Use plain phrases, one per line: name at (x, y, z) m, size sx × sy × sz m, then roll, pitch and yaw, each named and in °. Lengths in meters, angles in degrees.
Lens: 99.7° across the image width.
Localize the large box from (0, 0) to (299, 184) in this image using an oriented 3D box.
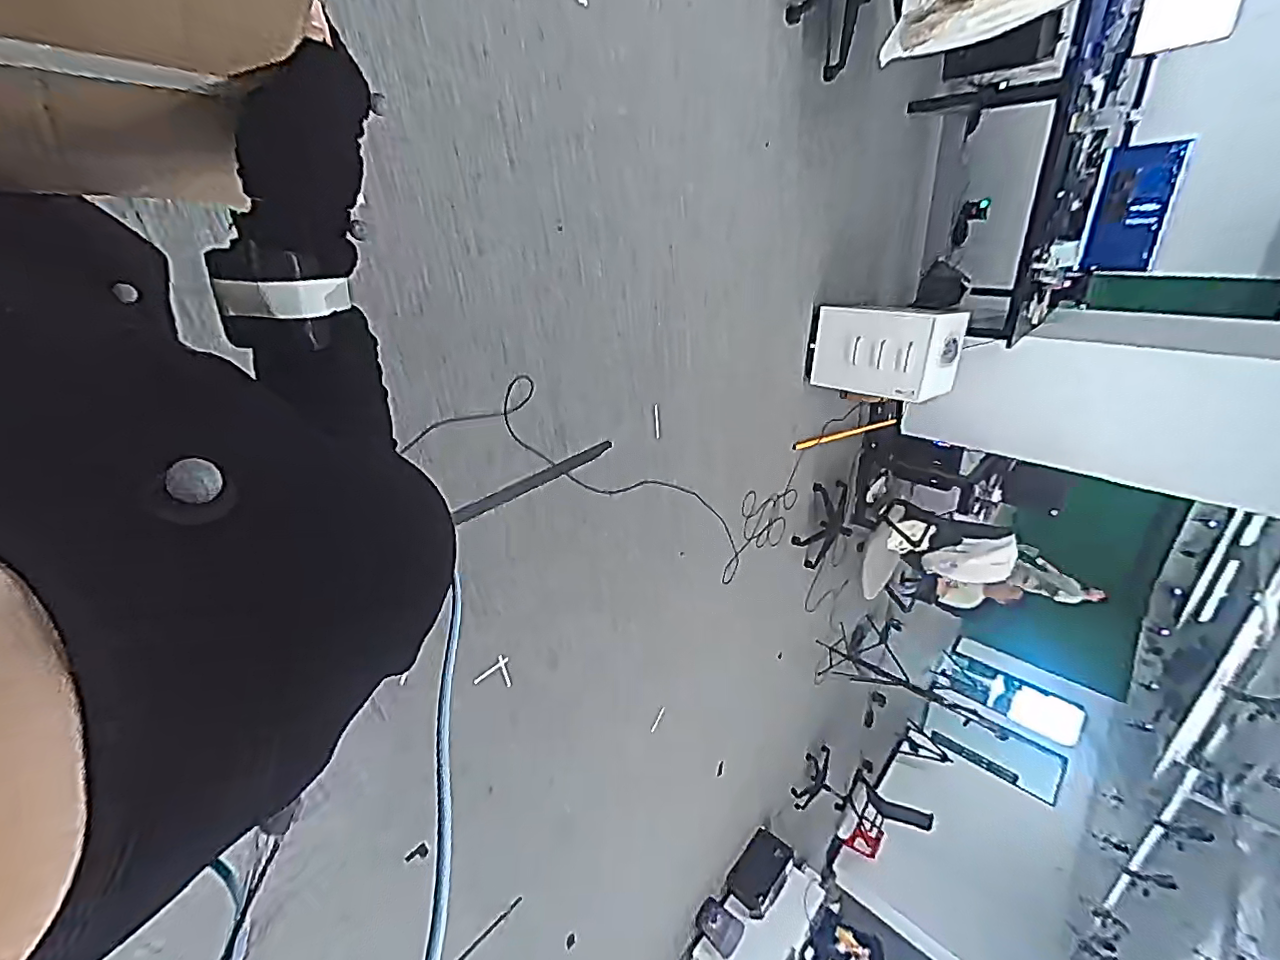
large box at (-0.384, -0.320, 0.155) m, size 0.408 × 0.320 × 0.320 m, roll -23°, pitch 105°, yaw -41°
